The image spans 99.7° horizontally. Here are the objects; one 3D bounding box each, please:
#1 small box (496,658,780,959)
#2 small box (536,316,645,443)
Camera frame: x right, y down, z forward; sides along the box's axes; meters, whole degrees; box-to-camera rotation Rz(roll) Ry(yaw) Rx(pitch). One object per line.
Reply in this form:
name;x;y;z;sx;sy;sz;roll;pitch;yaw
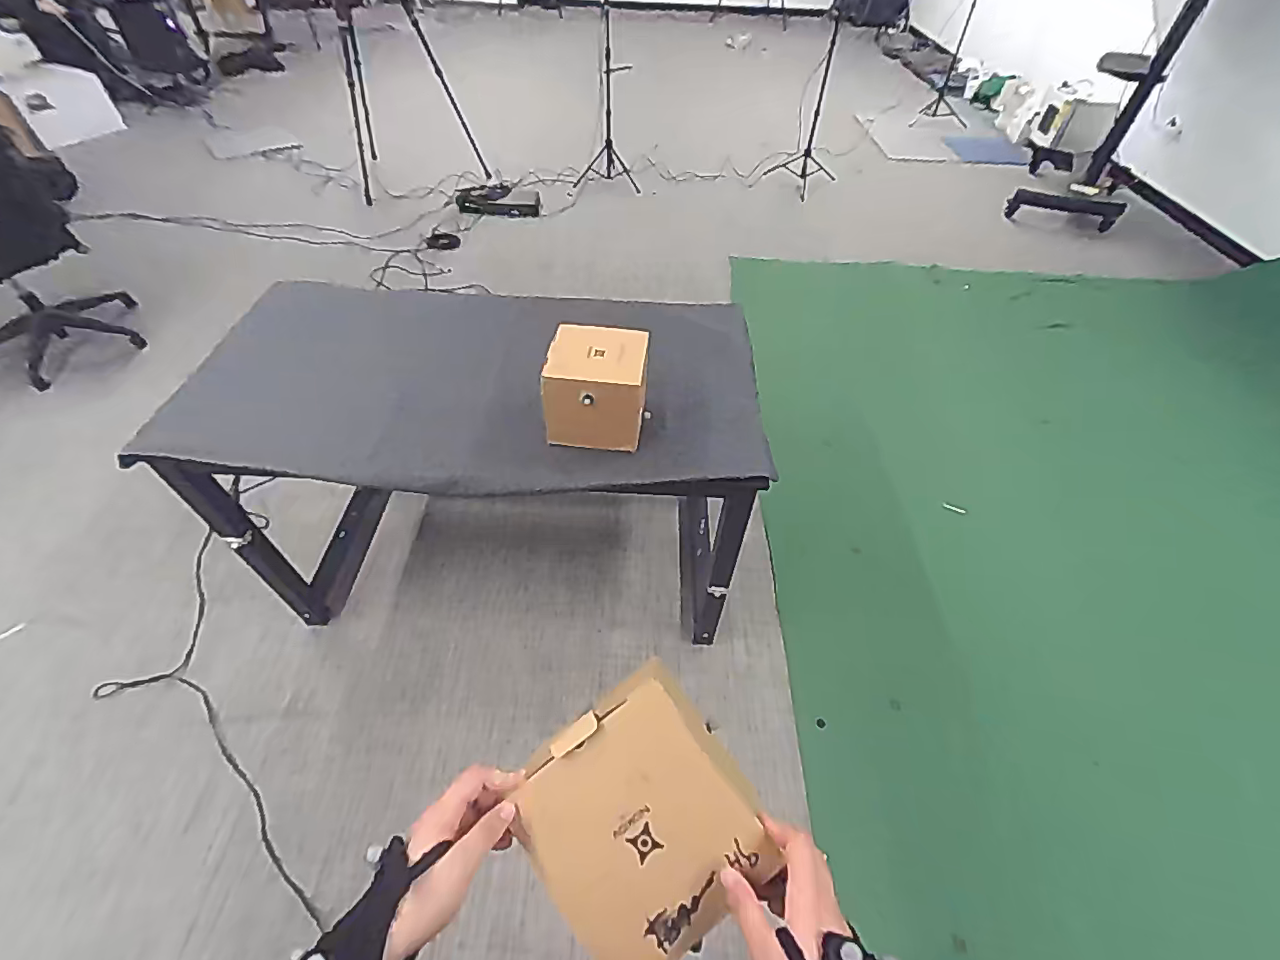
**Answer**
small box;-0.002;0.286;0.509;0.168;0.176;0.179;-36;80;-5
small box;-0.088;-0.188;1.029;0.179;0.176;0.168;6;50;1
